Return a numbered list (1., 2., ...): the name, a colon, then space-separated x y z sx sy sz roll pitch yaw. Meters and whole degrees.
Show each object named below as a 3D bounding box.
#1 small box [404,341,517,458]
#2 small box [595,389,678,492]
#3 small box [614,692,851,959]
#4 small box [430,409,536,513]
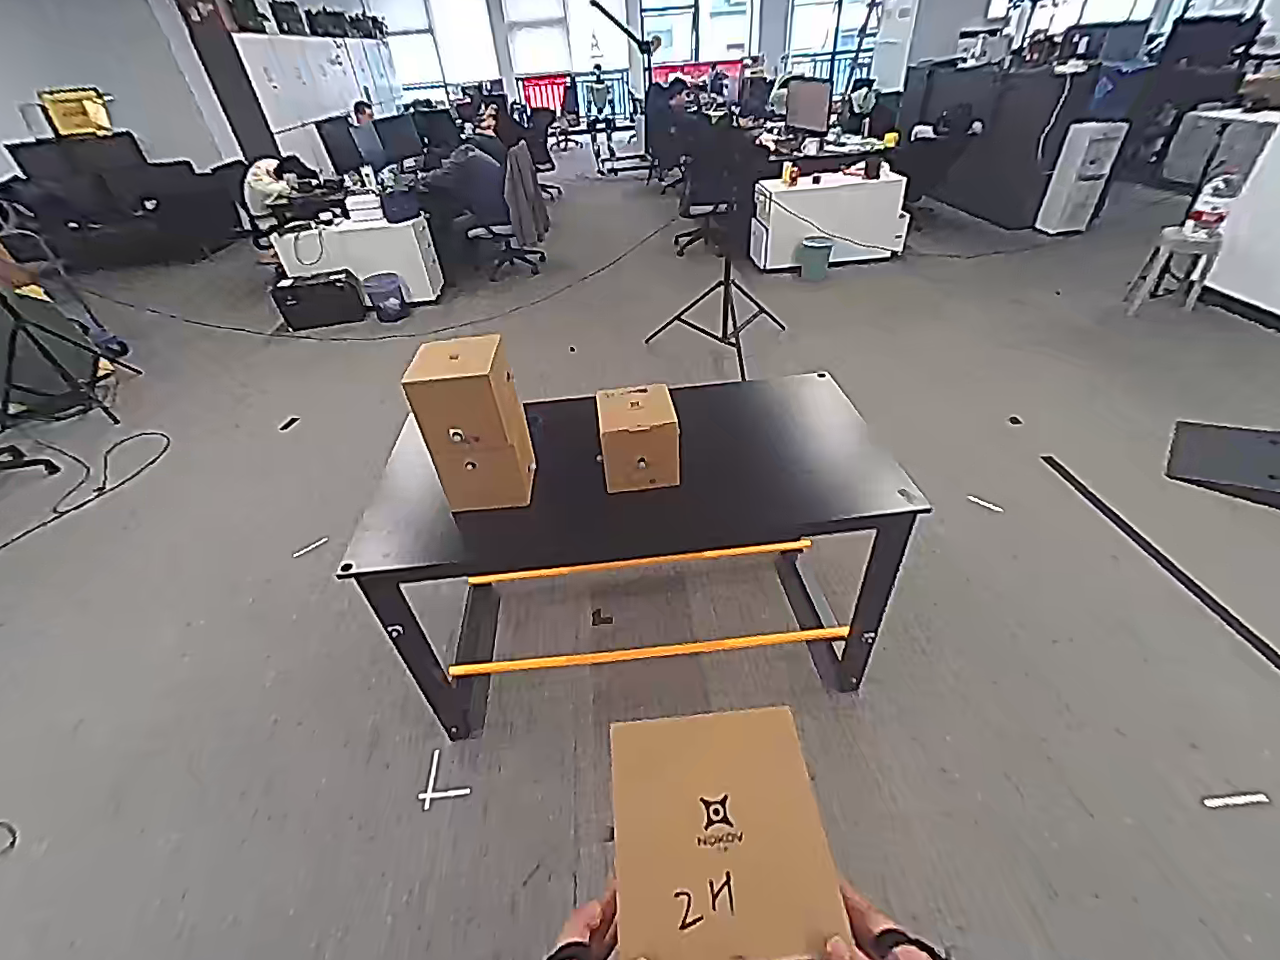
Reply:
1. small box: -0.355 -0.165 1.110 0.168 0.176 0.179 -7 39 0
2. small box: -0.008 -0.085 1.235 0.168 0.176 0.179 -7 39 -2
3. small box: 0.065 0.319 0.490 0.168 0.176 0.179 -6 45 -1
4. small box: -0.342 -0.040 1.213 0.179 0.176 0.168 -5 38 -1
